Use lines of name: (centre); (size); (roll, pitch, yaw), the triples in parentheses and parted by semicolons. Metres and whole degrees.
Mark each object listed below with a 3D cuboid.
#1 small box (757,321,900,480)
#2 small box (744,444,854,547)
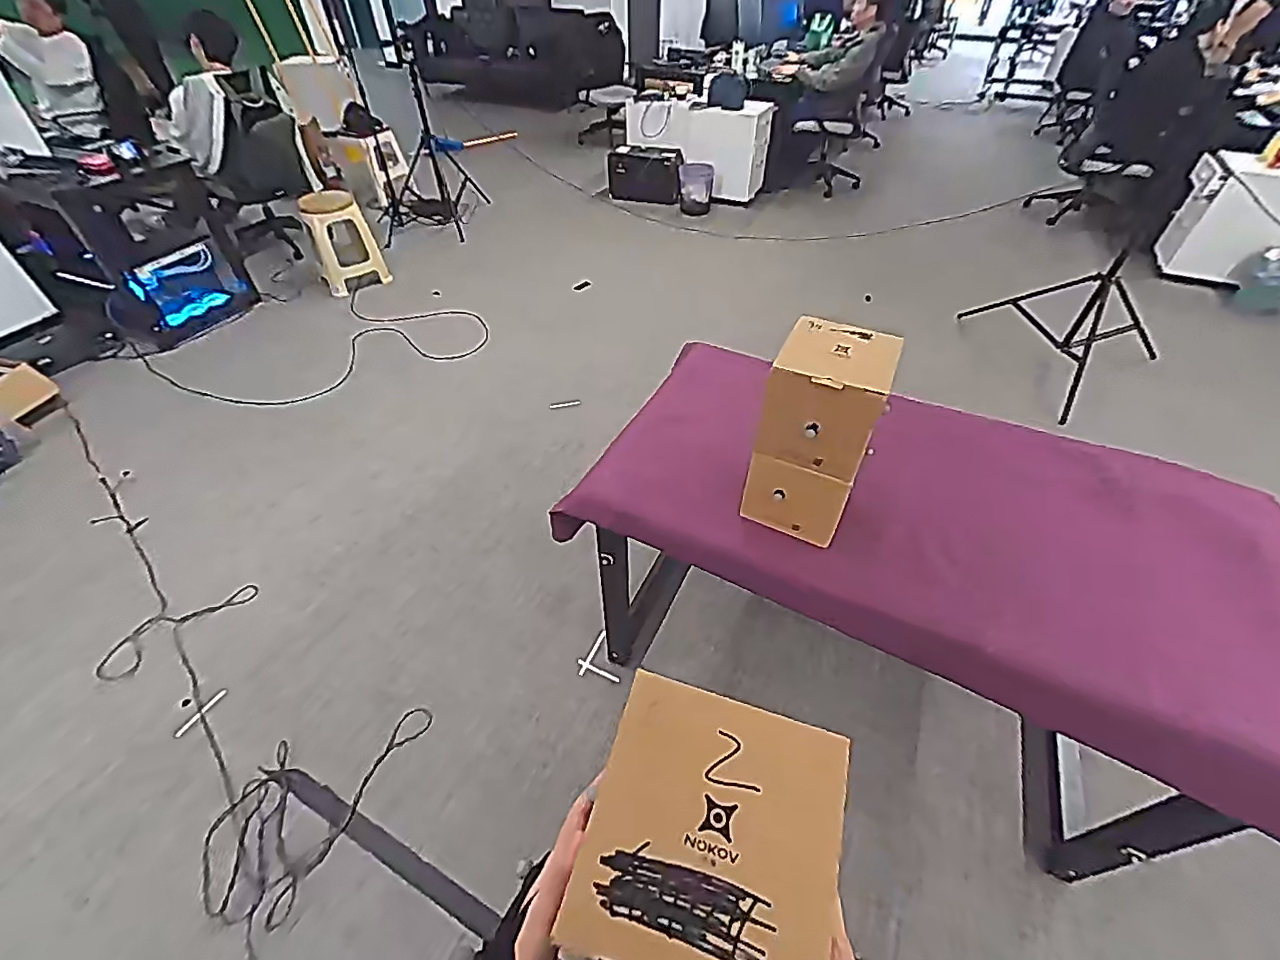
small box: (0.298, -0.128, 0.877); (0.168, 0.176, 0.179); (20, 48, 18)
small box: (0.298, -0.008, 0.989); (0.168, 0.176, 0.179); (21, 48, 19)
